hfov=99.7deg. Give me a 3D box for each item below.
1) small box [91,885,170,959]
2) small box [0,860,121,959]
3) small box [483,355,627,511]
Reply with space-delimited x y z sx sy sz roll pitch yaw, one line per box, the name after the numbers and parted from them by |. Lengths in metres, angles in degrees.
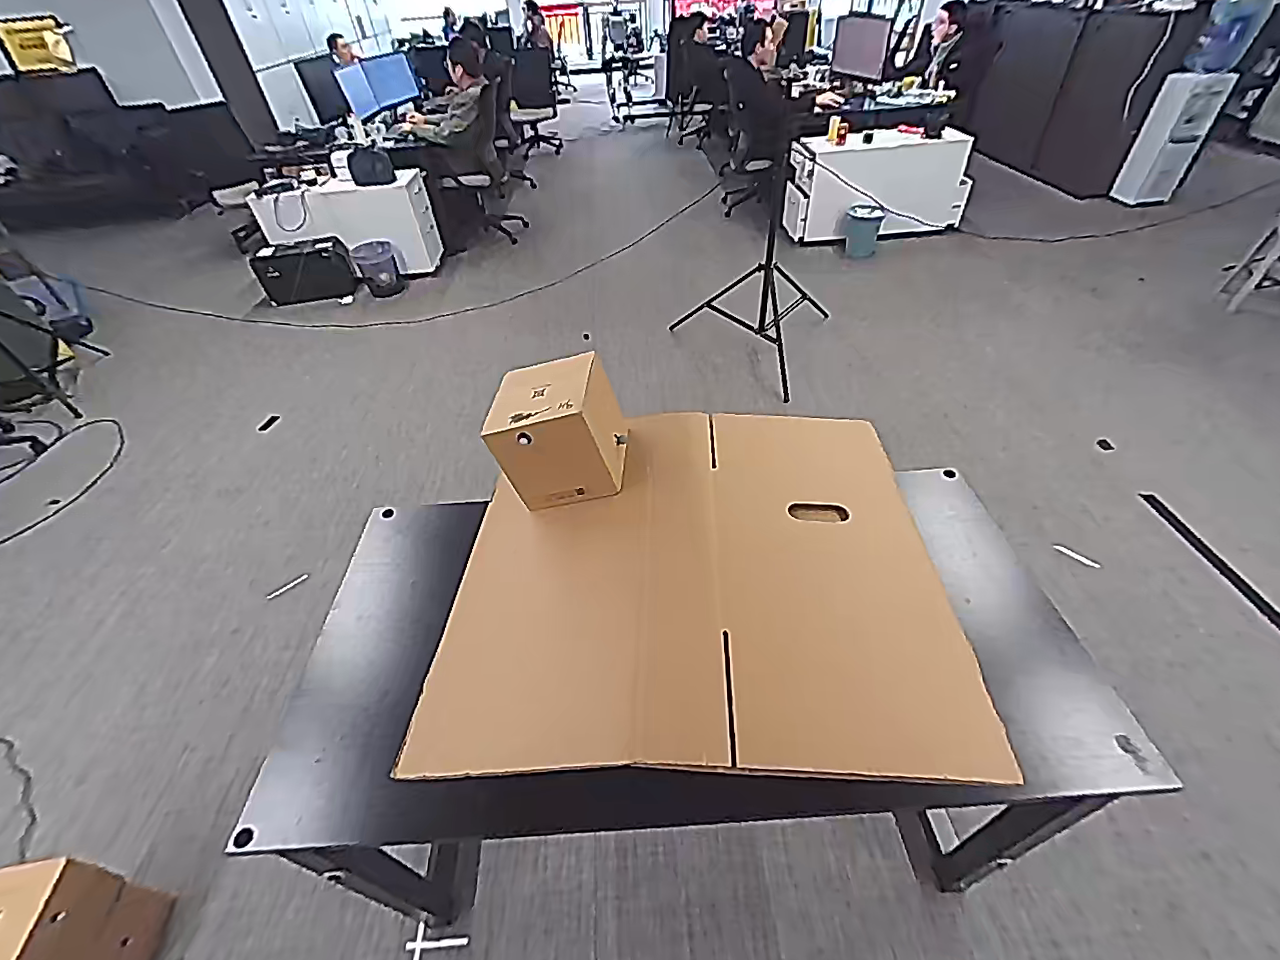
-1.152 0.986 1.137 0.168 0.176 0.179 -7 44 -3 | small box
-1.164 0.863 1.031 0.168 0.176 0.179 -9 42 -5 | small box
-0.127 -0.076 0.892 0.168 0.176 0.179 -12 40 15 | small box
